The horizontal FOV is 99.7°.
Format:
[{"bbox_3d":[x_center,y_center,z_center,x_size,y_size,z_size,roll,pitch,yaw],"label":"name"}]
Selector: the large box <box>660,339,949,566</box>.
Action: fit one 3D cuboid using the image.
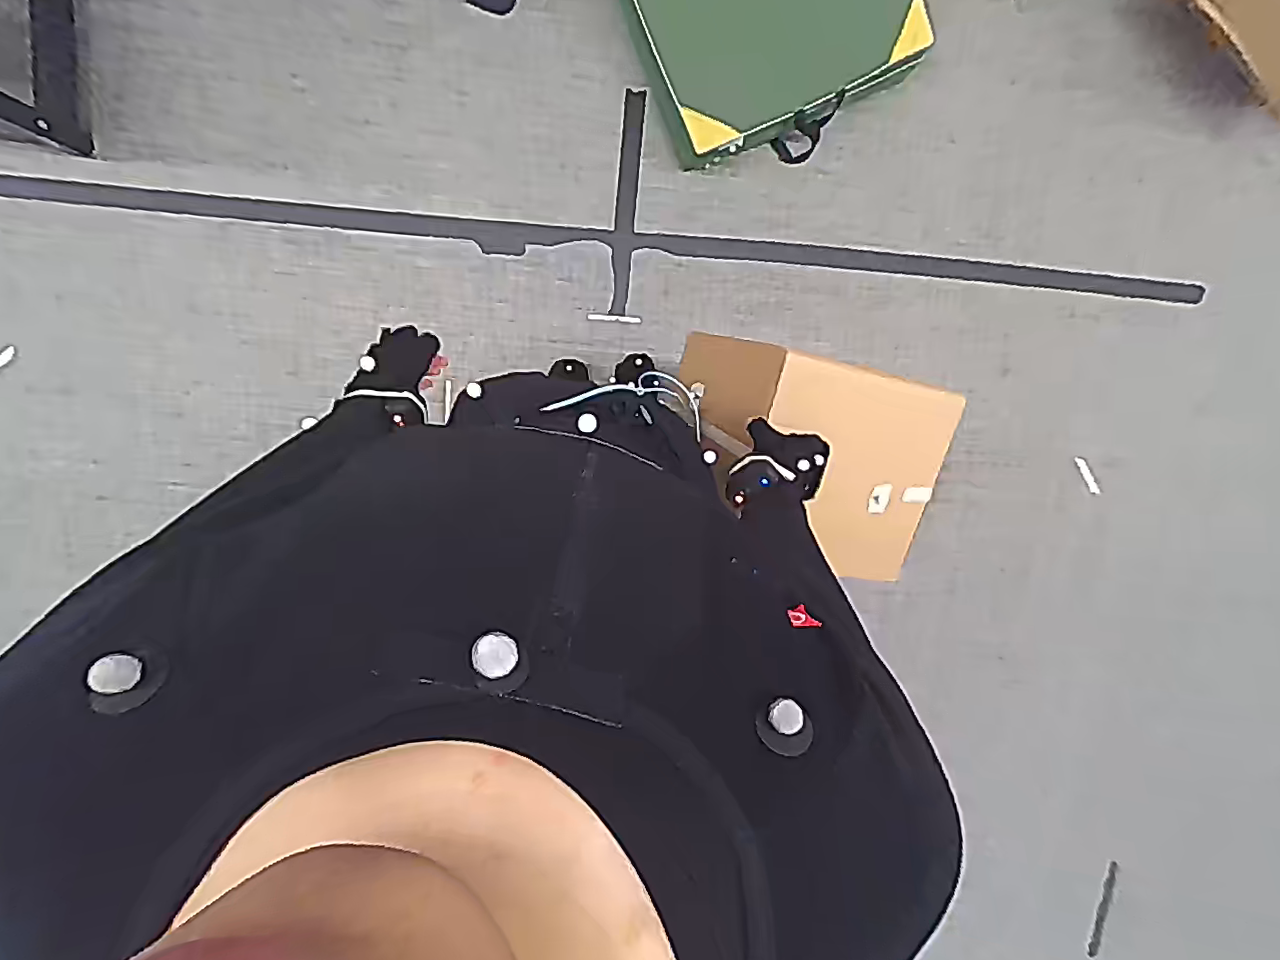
[{"bbox_3d":[0.259,-0.069,0.990,0.320,0.408,0.320,8,105,-16],"label":"large box"}]
